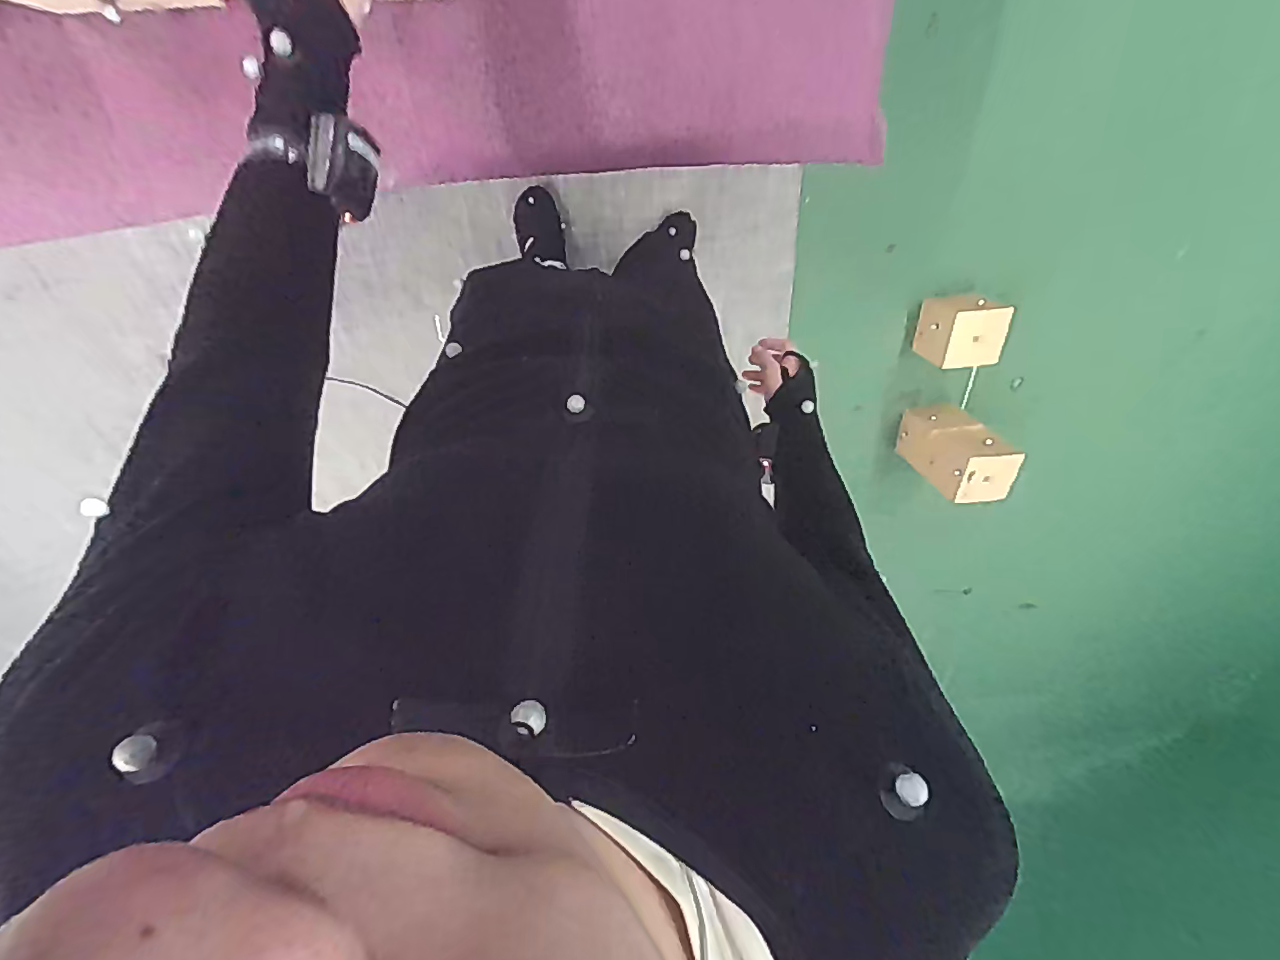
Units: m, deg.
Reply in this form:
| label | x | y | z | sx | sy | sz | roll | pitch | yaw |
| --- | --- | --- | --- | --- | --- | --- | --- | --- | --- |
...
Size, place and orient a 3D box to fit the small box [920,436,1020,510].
| label | x | y | z | sx | sy | sz | roll | pitch | yaw |
| --- | --- | --- | --- | --- | --- | --- | --- | --- | --- |
| small box | 1.014 | -0.026 | 1.676 | 0.179 | 0.176 | 0.168 | -4 | 123 | -7 |

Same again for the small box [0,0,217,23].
| label | x | y | z | sx | sy | sz | roll | pitch | yaw |
| --- | --- | --- | --- | --- | --- | --- | --- | --- | --- |
| small box | -0.505 | -0.503 | 0.441 | 0.168 | 0.176 | 0.179 | -7 | 123 | -5 |

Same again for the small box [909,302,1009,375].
| label | x | y | z | sx | sy | sz | roll | pitch | yaw |
| --- | --- | --- | --- | --- | --- | --- | --- | --- | --- |
| small box | 0.937 | -0.424 | 1.609 | 0.179 | 0.176 | 0.168 | -7 | 123 | -6 |
